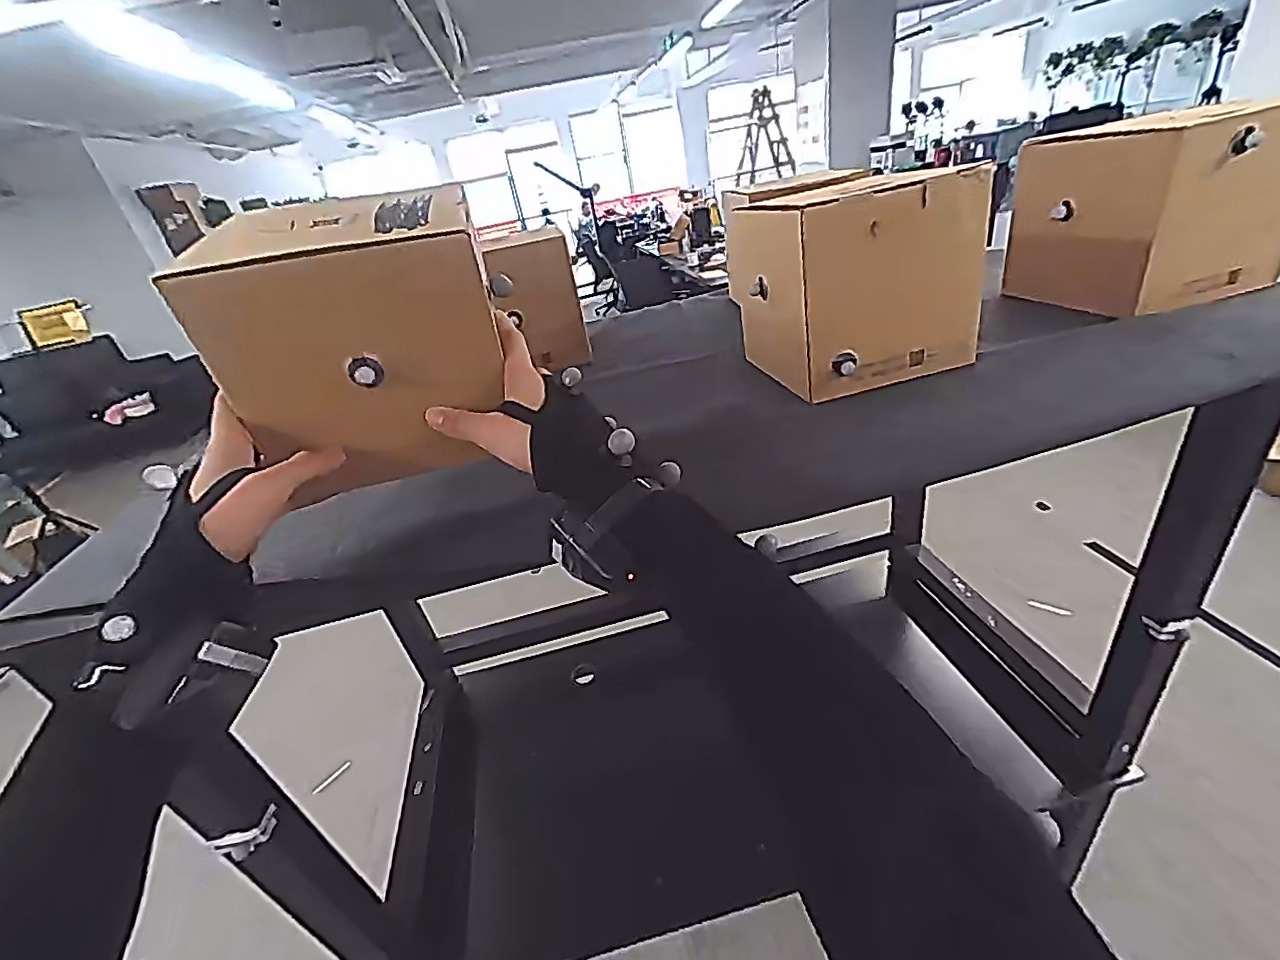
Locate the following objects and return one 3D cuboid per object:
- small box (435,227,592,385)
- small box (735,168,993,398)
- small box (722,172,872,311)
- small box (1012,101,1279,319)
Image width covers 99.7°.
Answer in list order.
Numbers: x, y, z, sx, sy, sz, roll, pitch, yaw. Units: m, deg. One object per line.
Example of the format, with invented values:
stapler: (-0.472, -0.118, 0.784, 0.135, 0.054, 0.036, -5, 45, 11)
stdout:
small box: (-0.170, -0.245, 0.764, 0.168, 0.176, 0.179, -14, 30, -5)
small box: (0.207, -0.191, 0.535, 0.168, 0.176, 0.179, -14, 27, -4)
small box: (0.228, -0.348, 0.806, 0.168, 0.176, 0.179, -11, 29, 0)
small box: (0.534, -0.278, 0.569, 0.168, 0.176, 0.179, -15, 29, -4)
